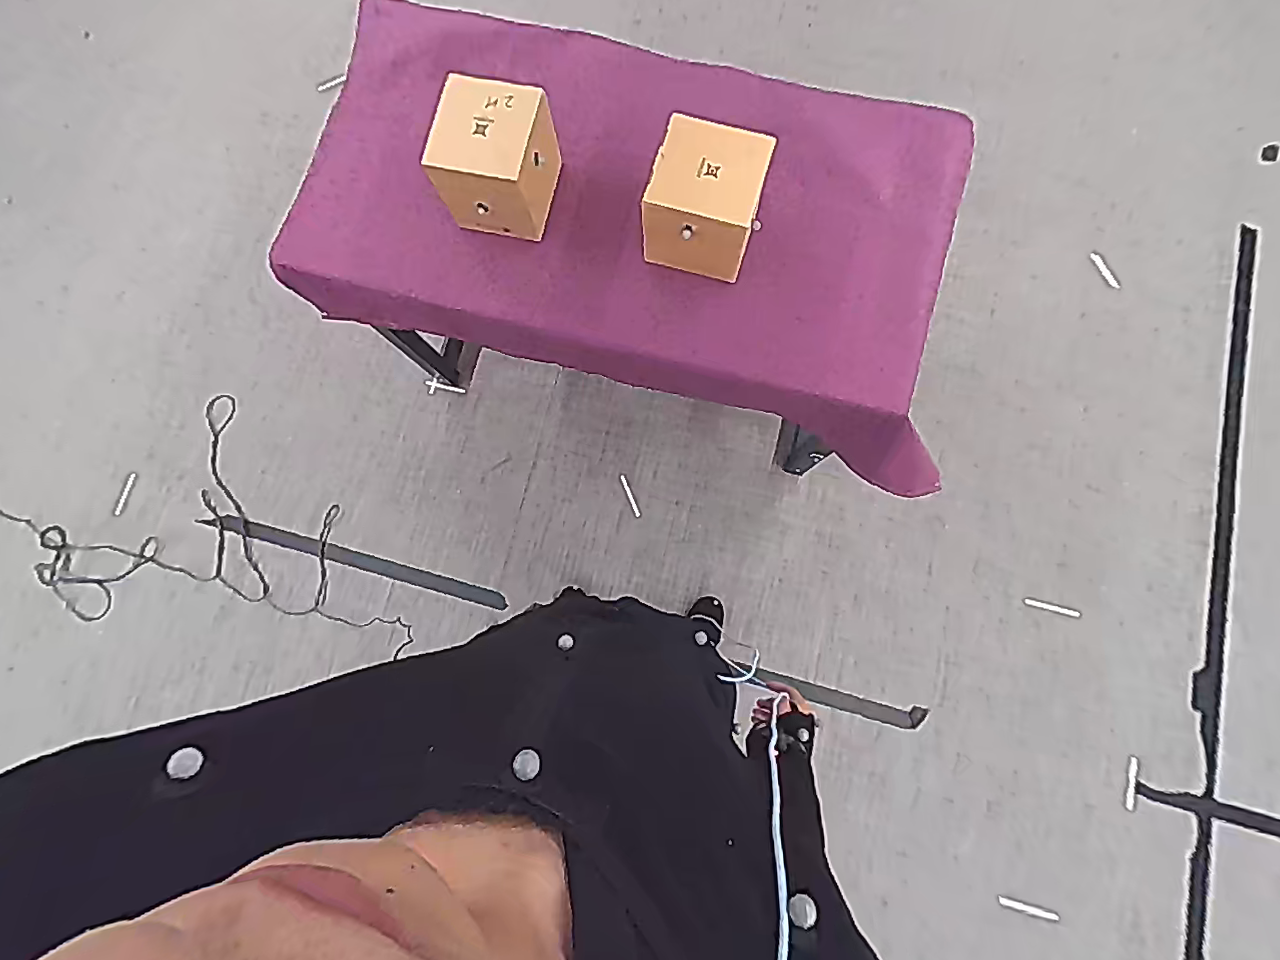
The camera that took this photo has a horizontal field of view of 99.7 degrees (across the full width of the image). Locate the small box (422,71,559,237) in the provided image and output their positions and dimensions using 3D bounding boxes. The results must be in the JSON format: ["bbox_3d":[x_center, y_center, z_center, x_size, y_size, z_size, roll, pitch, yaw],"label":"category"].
[{"bbox_3d":[-0.251,-0.561,0.952,0.168,0.176,0.179,13,82,4],"label":"small box"}]

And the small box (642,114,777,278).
[{"bbox_3d":[0.113,-0.473,0.925,0.179,0.176,0.168,17,82,6],"label":"small box"}]
